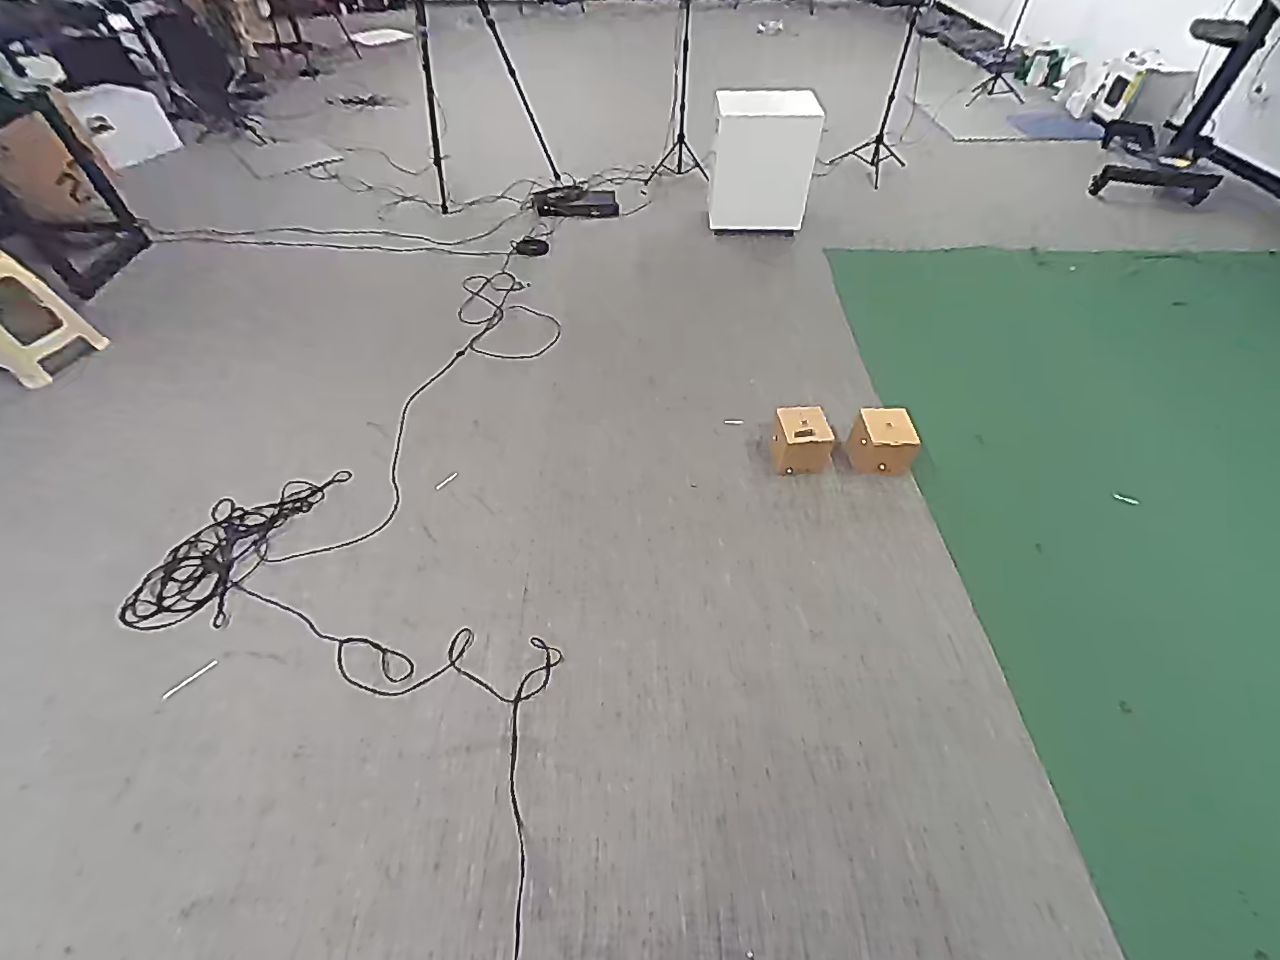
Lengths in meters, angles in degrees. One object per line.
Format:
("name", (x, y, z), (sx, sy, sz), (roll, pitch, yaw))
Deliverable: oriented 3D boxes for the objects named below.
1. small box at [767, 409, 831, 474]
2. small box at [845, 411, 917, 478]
("small box", (0.565, -0.132, 1.942), (0.168, 0.176, 0.179), (-3, 49, -3))
("small box", (0.857, -0.128, 1.941), (0.168, 0.176, 0.179), (-1, 50, 0))
